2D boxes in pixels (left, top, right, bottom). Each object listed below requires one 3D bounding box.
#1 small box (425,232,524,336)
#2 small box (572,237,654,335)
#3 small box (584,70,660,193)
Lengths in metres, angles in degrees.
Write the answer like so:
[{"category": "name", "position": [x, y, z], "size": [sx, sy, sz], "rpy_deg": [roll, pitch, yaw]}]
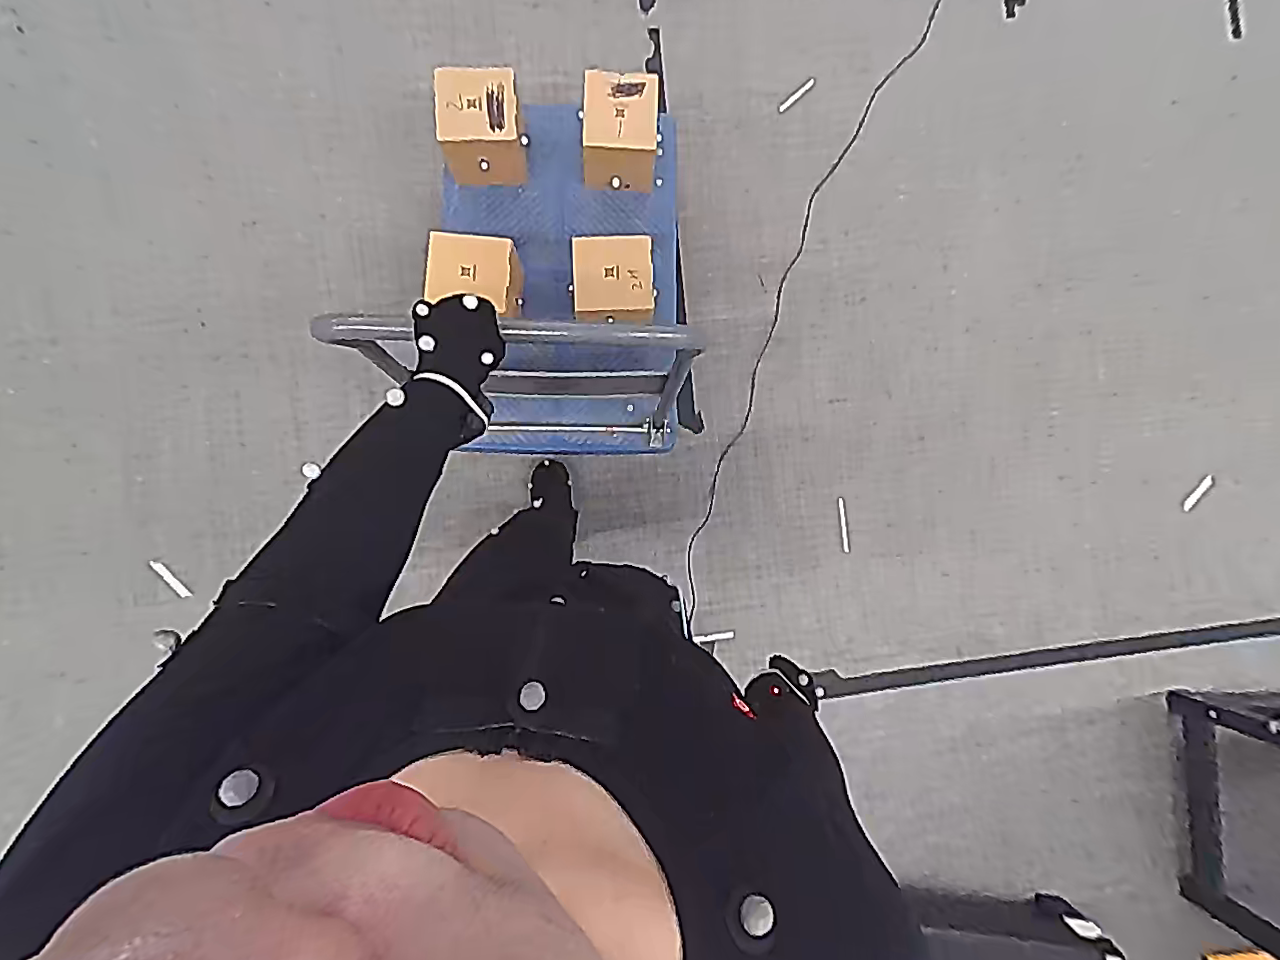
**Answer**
[{"category": "small box", "position": [-0.371, -0.439, 1.236], "size": [0.179, 0.176, 0.168], "rpy_deg": [4, 86, -5]}, {"category": "small box", "position": [-0.061, -0.443, 1.252], "size": [0.179, 0.176, 0.168], "rpy_deg": [-2, 87, -3]}, {"category": "small box", "position": [-0.046, -0.813, 1.275], "size": [0.168, 0.176, 0.179], "rpy_deg": [2, 88, -3]}]
